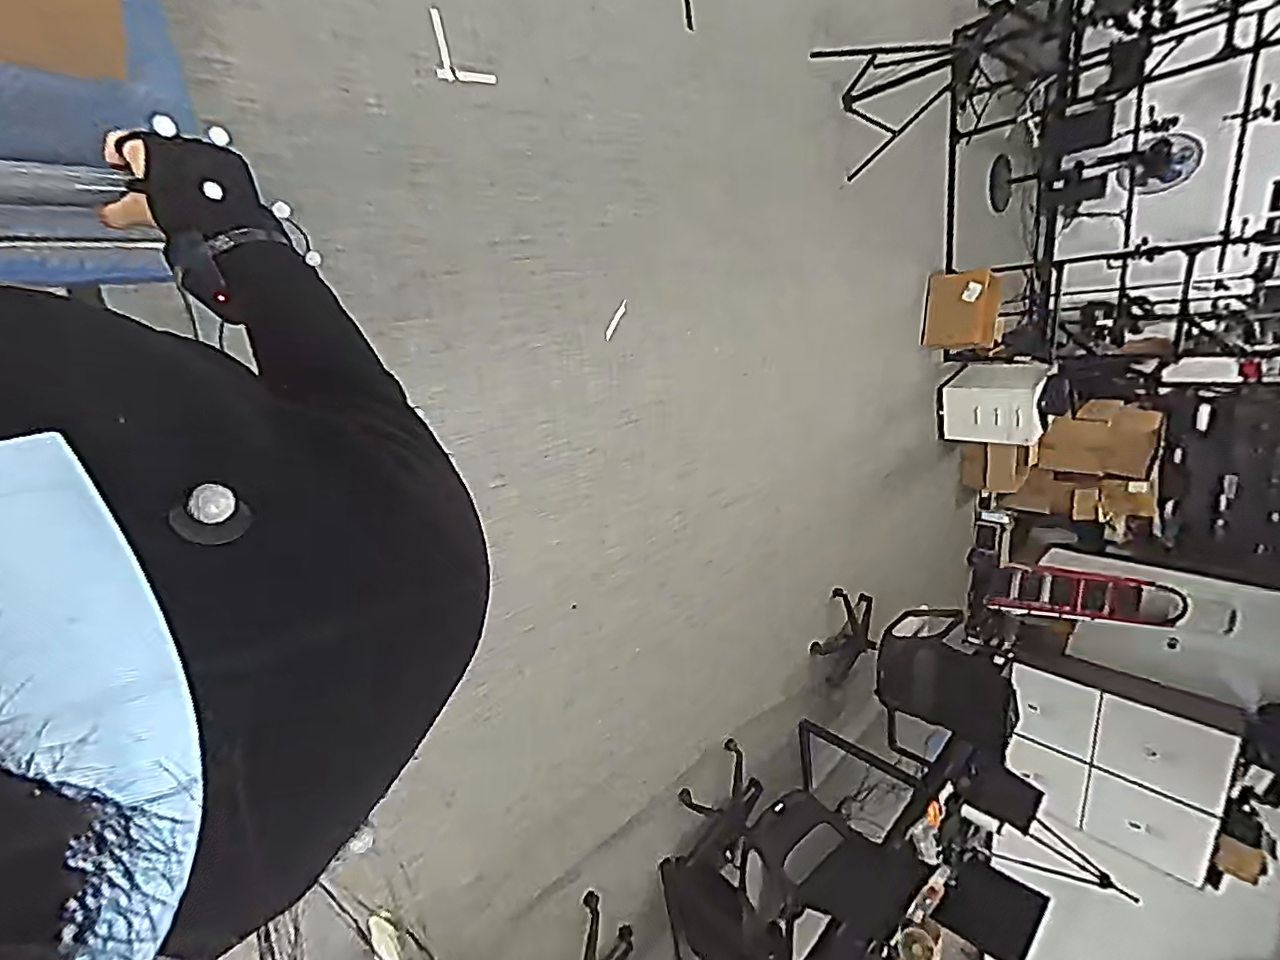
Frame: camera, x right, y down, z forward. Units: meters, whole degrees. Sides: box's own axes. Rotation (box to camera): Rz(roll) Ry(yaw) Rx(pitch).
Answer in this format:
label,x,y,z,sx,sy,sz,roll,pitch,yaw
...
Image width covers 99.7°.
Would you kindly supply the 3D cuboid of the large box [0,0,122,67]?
label,x,y,z,sx,sy,sz,roll,pitch,yaw
large box,-0.950,-0.771,0.653,0.408,0.320,0.320,-18,110,-38
